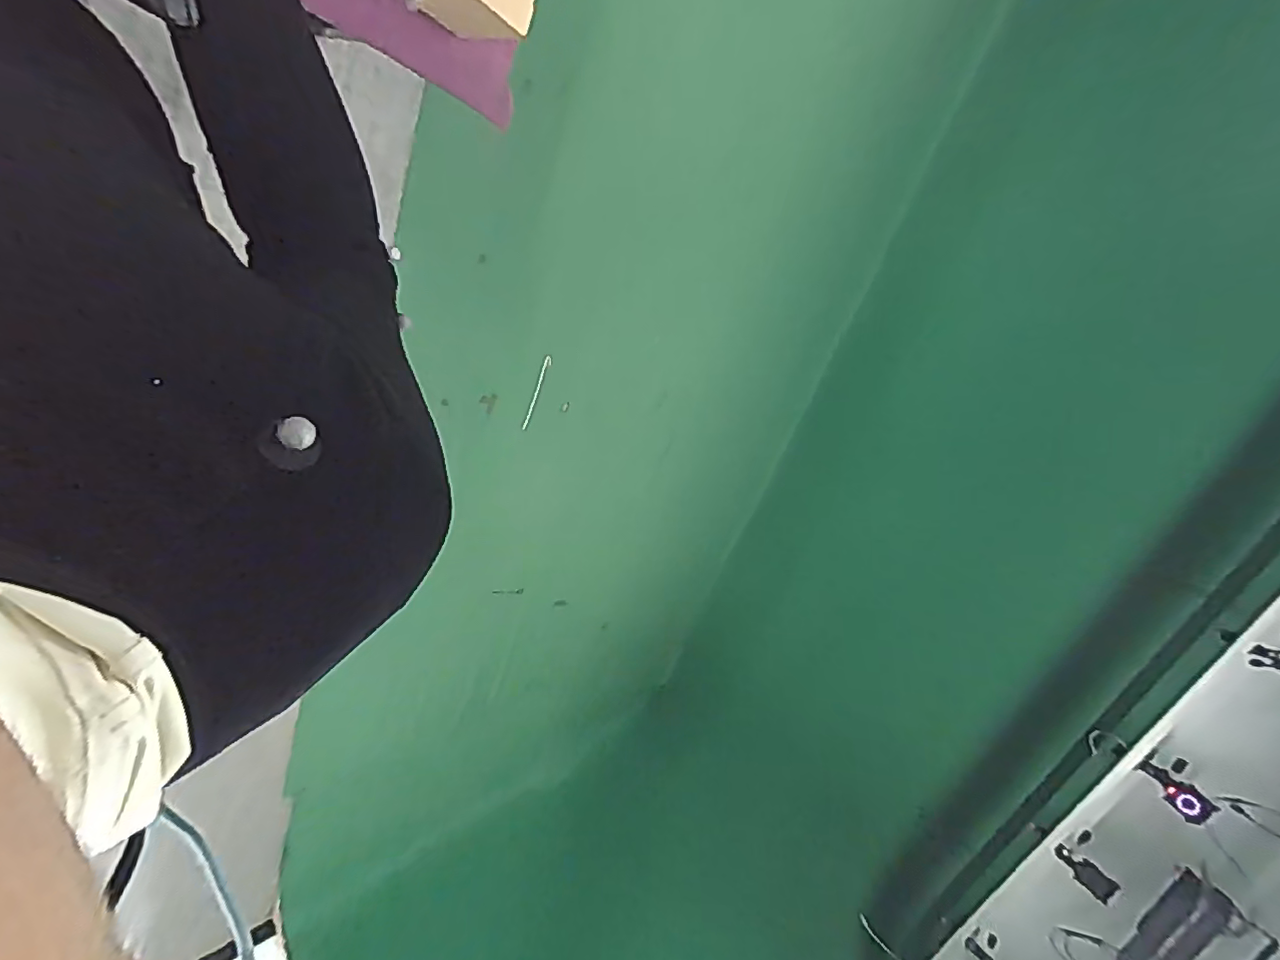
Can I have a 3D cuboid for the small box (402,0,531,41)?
[{"bbox_3d":[-0.227,-0.652,0.620,0.179,0.176,0.168,0,117,-52],"label":"small box"}]
